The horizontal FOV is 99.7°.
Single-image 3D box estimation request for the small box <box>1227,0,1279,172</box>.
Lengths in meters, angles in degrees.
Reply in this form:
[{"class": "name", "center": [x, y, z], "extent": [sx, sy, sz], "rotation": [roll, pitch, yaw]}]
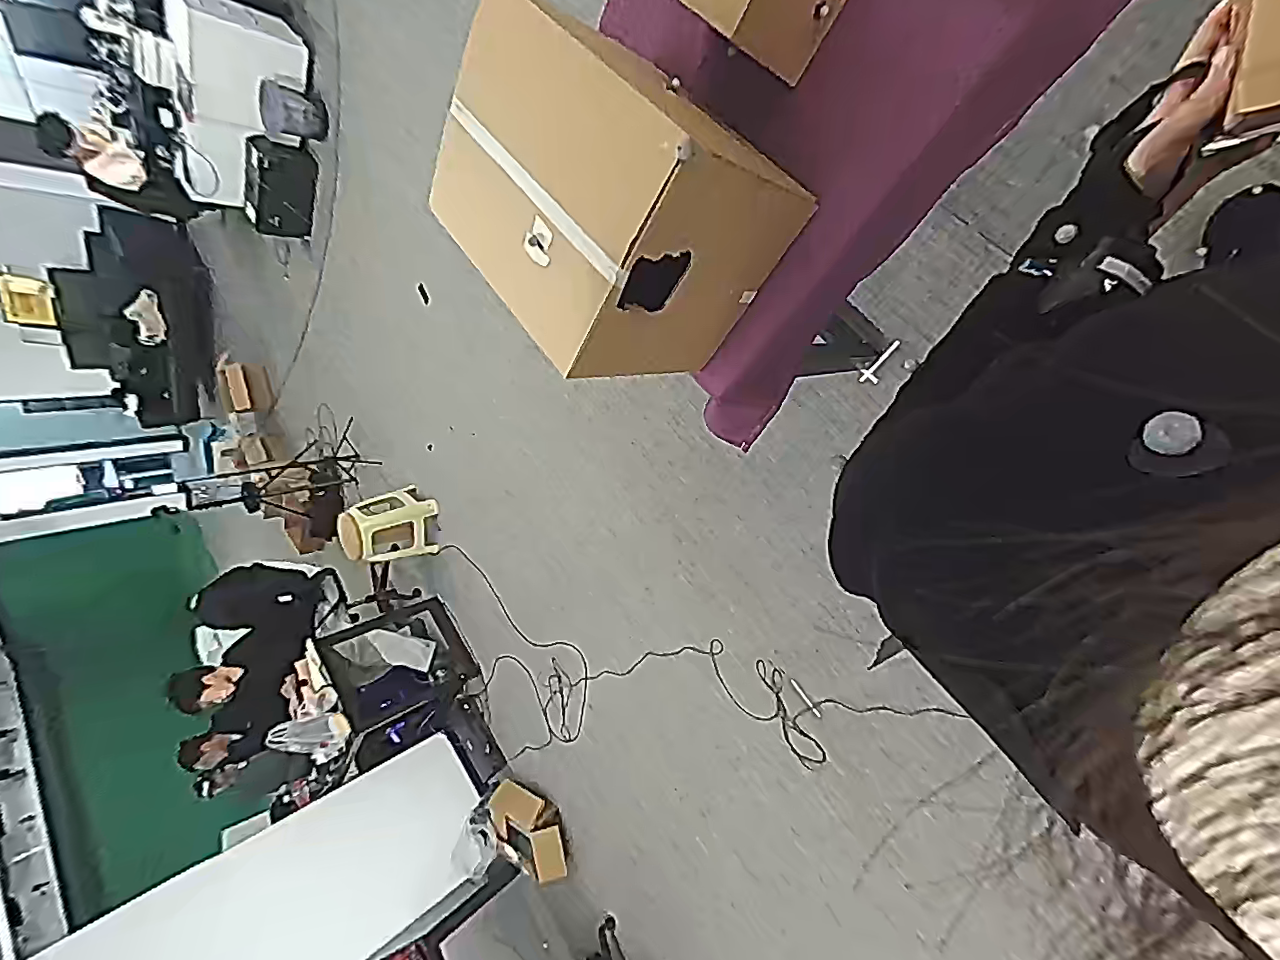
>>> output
[{"class": "small box", "center": [0.373, -0.259, 0.199], "extent": [0.168, 0.176, 0.179], "rotation": [-3, 93, 25]}]
